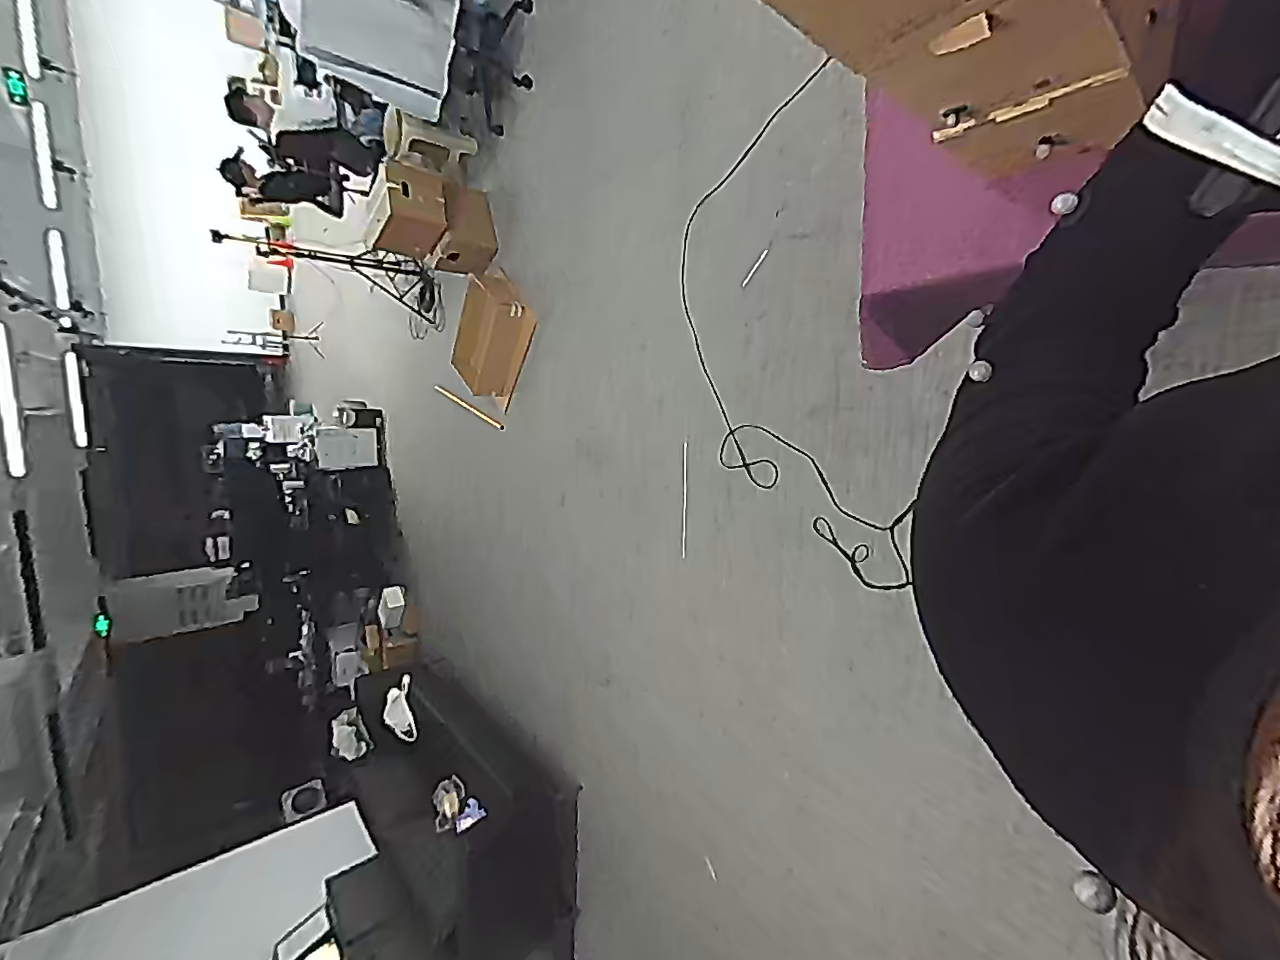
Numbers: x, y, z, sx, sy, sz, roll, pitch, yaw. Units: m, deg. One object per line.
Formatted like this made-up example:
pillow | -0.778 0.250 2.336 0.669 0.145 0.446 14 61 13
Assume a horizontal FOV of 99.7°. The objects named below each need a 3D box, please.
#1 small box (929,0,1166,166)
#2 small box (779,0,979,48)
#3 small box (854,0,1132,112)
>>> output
small box | 0.430 -0.457 0.571 0.168 0.176 0.179 10 103 48
small box | 0.184 -0.434 0.357 0.168 0.176 0.179 8 101 48
small box | 0.307 -0.451 0.462 0.168 0.176 0.179 12 103 48
